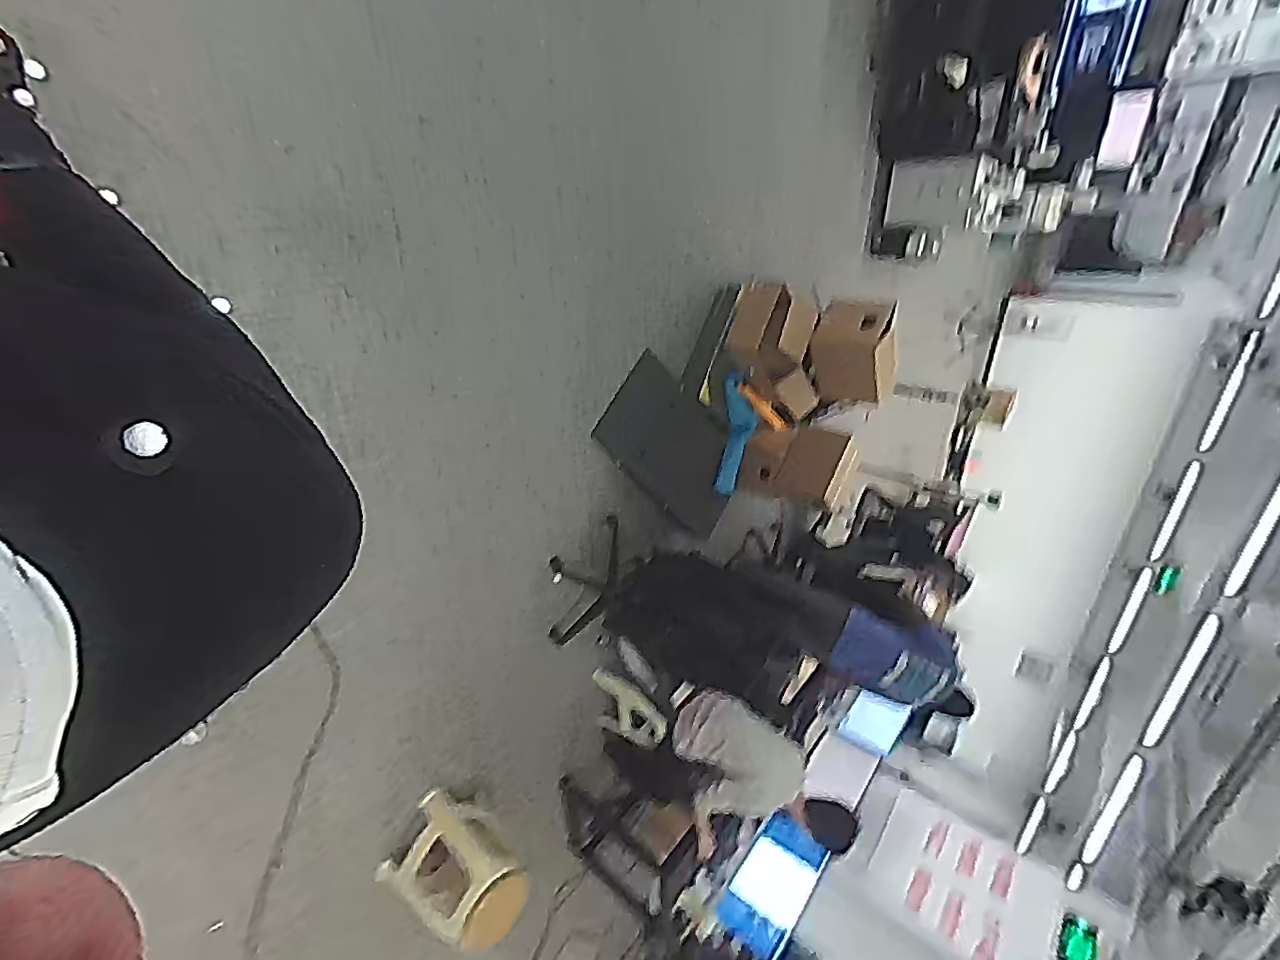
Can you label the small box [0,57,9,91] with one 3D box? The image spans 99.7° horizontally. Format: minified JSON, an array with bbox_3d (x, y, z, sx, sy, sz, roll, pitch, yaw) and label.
[{"bbox_3d":[-1.128,-0.677,0.809,0.168,0.176,0.179,-48,136,-30],"label":"small box"}]
